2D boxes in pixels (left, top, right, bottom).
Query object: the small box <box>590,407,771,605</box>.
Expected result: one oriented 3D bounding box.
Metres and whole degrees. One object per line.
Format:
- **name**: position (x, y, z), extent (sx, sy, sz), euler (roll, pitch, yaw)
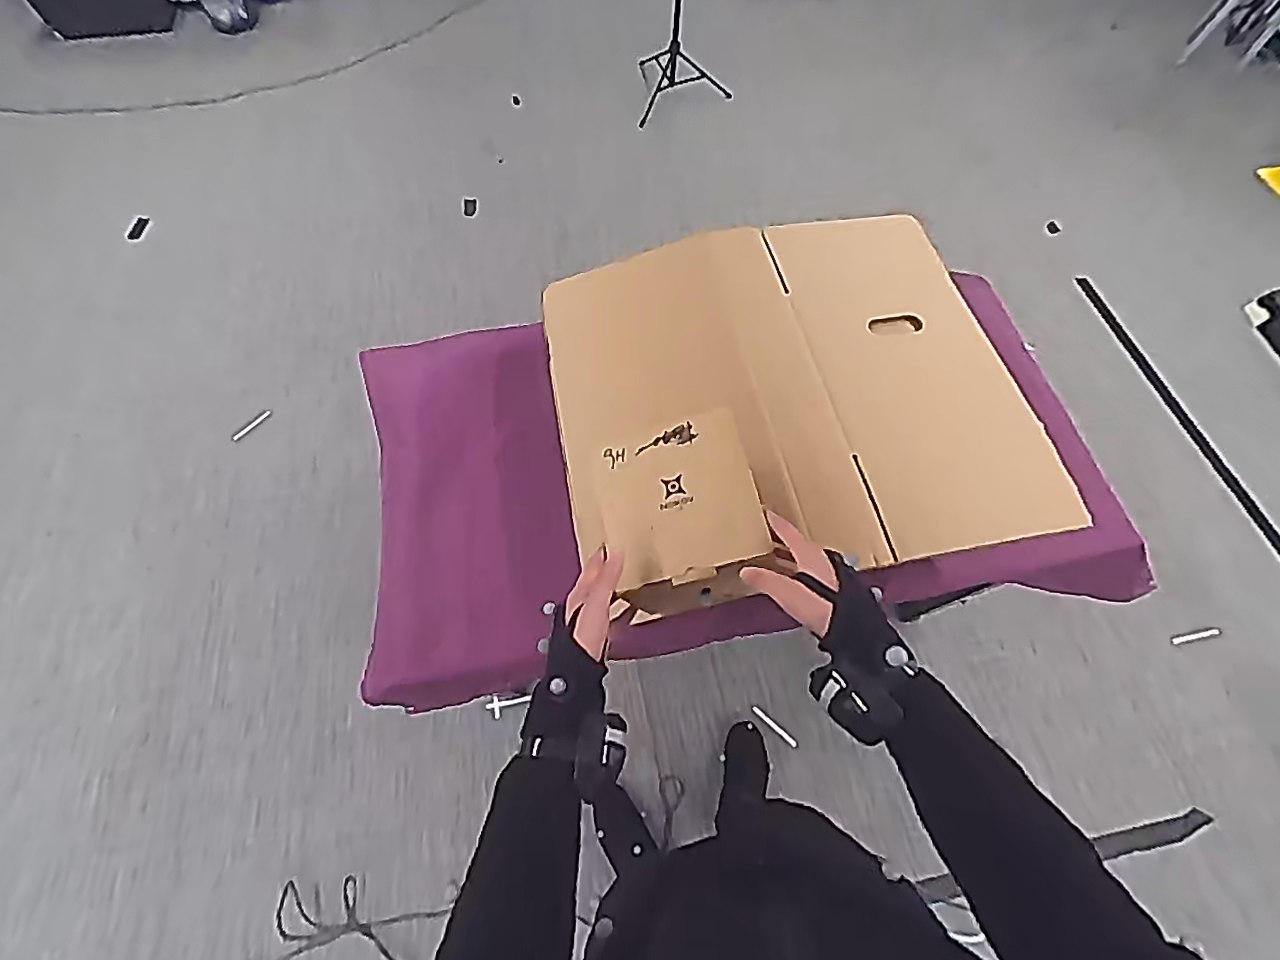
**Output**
- **small box**: position (0.054, 0.044, 0.638), extent (0.168, 0.176, 0.179), euler (-15, 67, 8)
